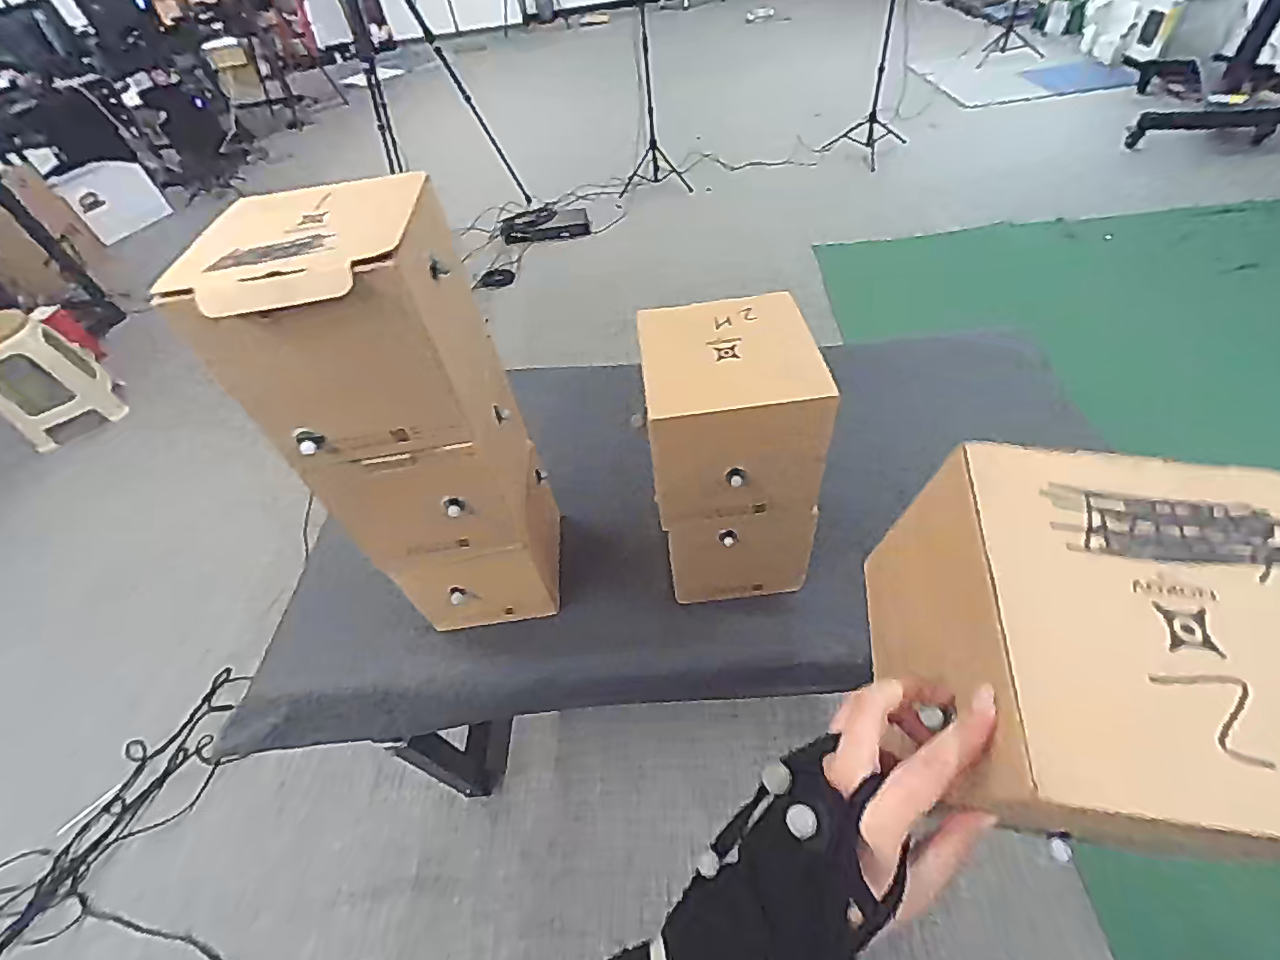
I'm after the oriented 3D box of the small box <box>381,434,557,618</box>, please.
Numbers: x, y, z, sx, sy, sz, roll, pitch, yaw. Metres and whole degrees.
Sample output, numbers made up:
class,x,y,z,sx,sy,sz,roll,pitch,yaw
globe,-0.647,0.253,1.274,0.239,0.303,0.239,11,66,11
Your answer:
class,x,y,z,sx,sy,sz,roll,pitch,yaw
small box,-0.207,0.068,0.714,0.168,0.176,0.179,-8,48,1

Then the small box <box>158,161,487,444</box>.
class,x,y,z,sx,sy,sz,roll,pitch,yaw
small box,-0.240,-0.146,0.469,0.168,0.176,0.179,-9,48,-2

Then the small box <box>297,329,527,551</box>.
class,x,y,z,sx,sy,sz,roll,pitch,yaw
small box,-0.224,-0.037,0.591,0.168,0.176,0.179,-8,47,-1

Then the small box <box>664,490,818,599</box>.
class,x,y,z,sx,sy,sz,roll,pitch,yaw
small box,0.115,0.032,0.702,0.168,0.176,0.179,-6,48,2

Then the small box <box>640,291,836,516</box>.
class,x,y,z,sx,sy,sz,roll,pitch,yaw
small box,0.092,-0.074,0.577,0.168,0.176,0.179,-6,49,1
